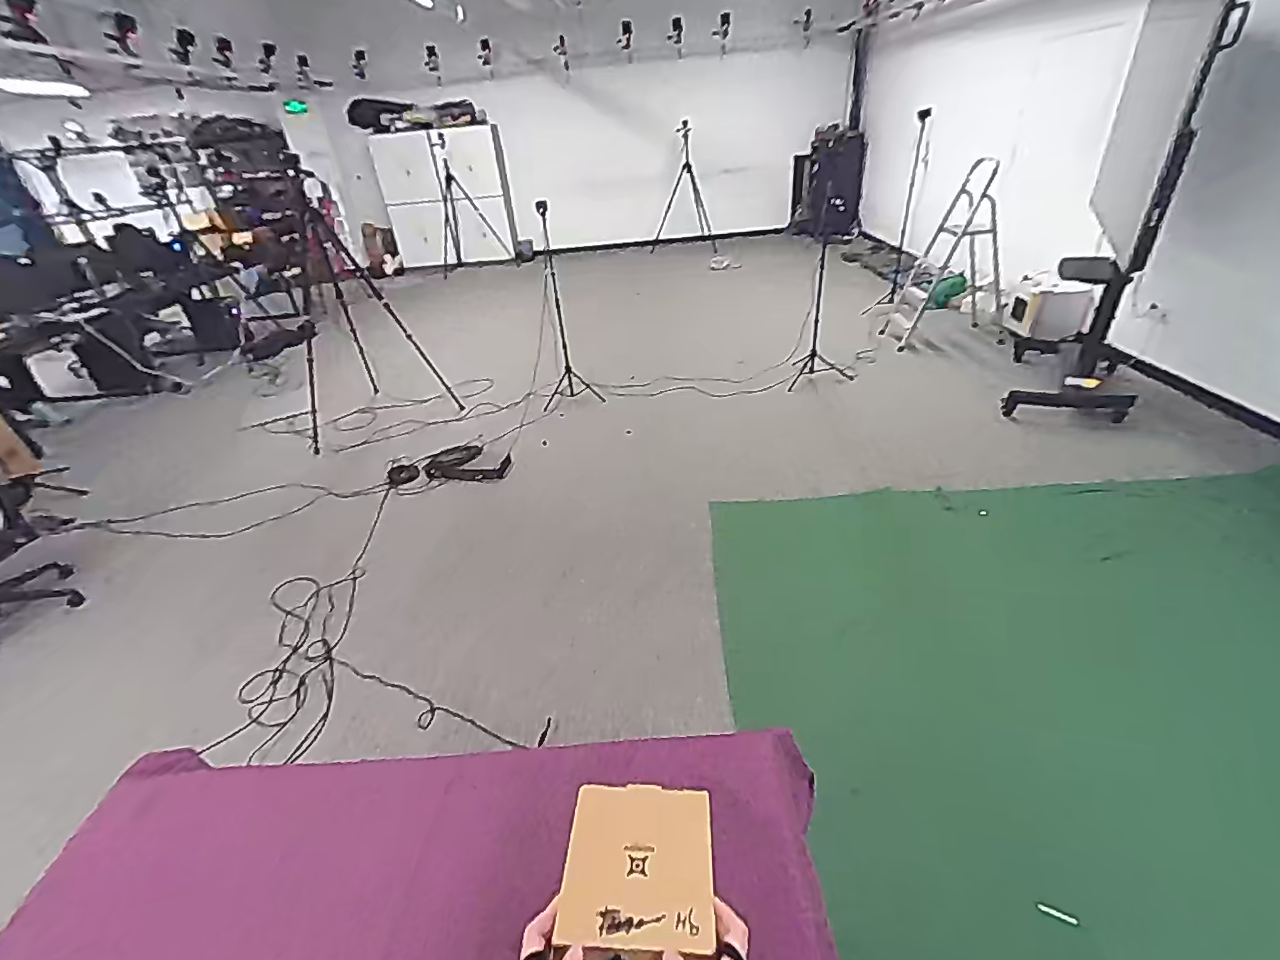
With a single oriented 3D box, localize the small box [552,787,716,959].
[{"bbox_3d":[0.002,0.501,0.634,0.168,0.176,0.179,0,24,5],"label":"small box"}]
